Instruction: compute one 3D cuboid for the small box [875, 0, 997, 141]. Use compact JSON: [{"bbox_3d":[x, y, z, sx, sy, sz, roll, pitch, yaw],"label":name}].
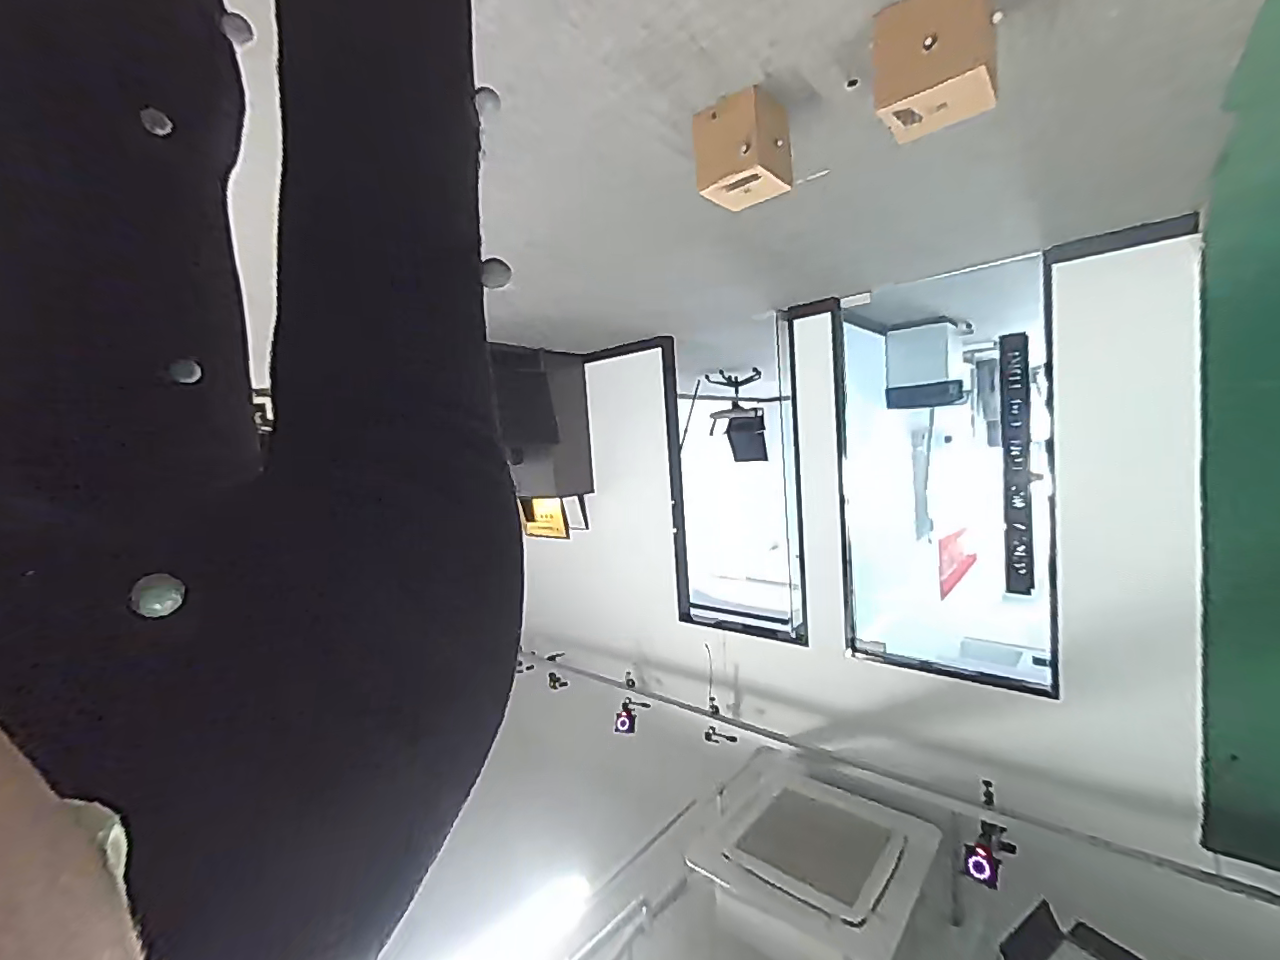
[{"bbox_3d":[0.542,-0.773,0.992,0.179,0.176,0.168,-2,-175,40],"label":"small box"}]
